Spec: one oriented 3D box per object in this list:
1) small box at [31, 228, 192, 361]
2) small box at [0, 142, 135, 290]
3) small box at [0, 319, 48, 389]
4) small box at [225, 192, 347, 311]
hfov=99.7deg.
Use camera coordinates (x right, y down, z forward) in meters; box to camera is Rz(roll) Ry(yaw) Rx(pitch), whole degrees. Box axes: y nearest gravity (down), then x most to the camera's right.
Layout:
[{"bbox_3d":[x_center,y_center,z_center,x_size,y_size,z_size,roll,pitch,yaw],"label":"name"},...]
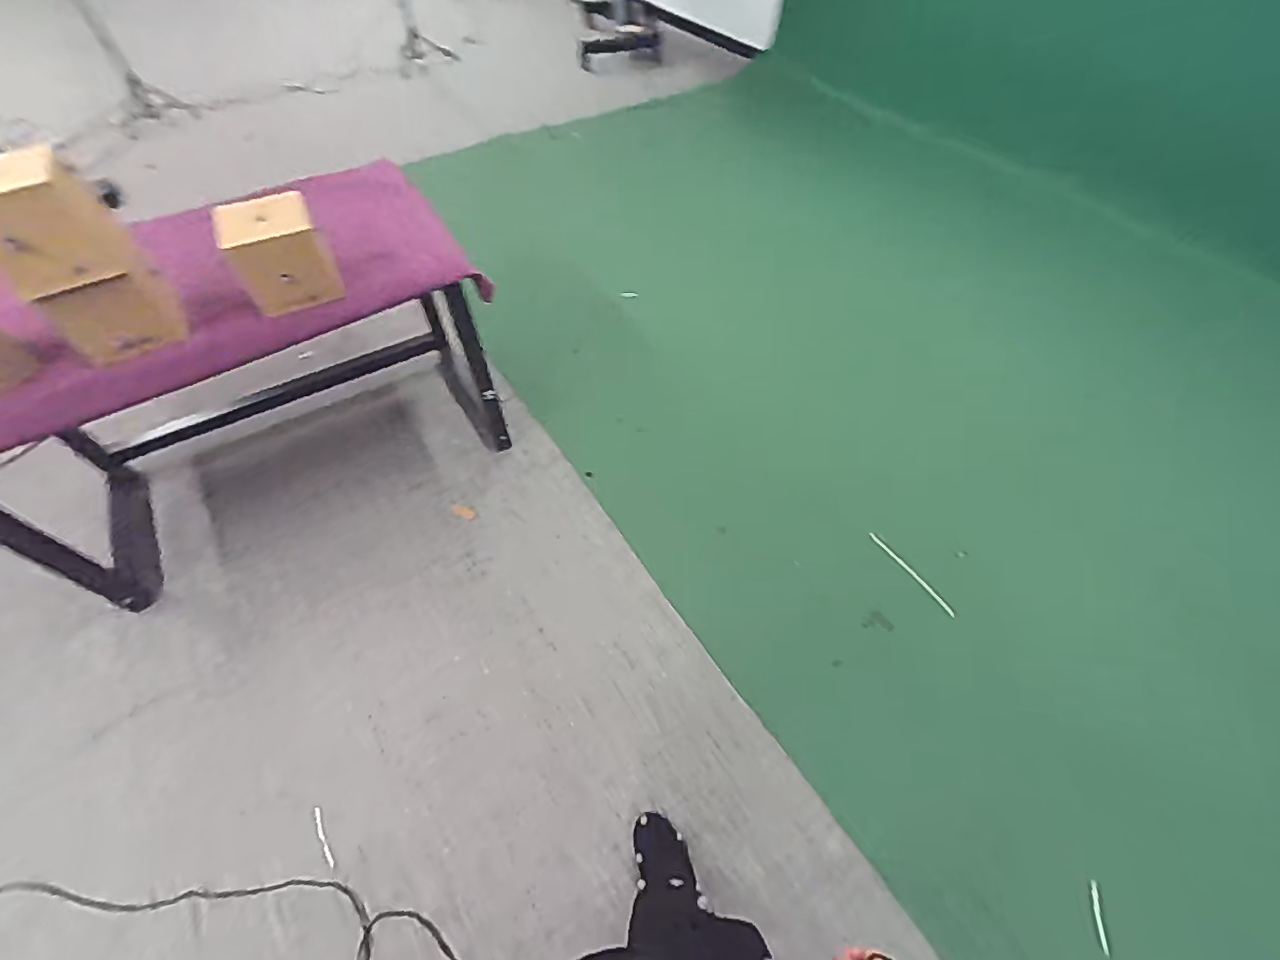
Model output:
[{"bbox_3d":[-1.054,-0.372,1.093,0.168,0.176,0.179,-26,57,-17],"label":"small box"},{"bbox_3d":[-1.044,-0.458,0.955,0.168,0.176,0.179,-27,56,-17],"label":"small box"},{"bbox_3d":[-1.294,-0.257,1.005,0.168,0.176,0.179,28,58,19],"label":"small box"},{"bbox_3d":[-0.766,-0.491,1.181,0.168,0.176,0.179,-21,57,-16],"label":"small box"}]
